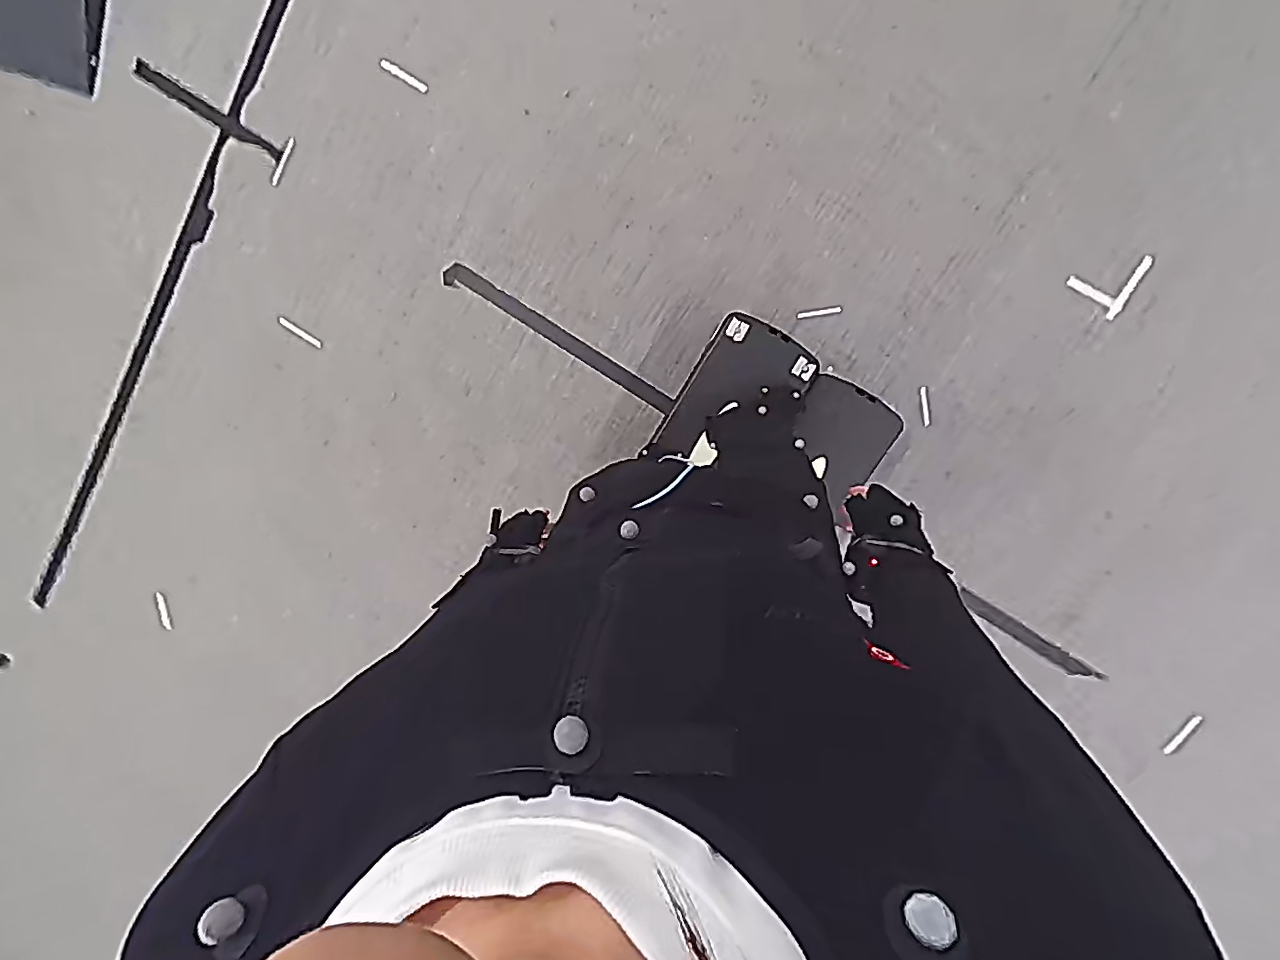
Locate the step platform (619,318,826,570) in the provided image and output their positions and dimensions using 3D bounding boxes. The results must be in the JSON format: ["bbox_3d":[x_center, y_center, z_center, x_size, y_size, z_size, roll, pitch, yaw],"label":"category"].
[{"bbox_3d":[0.216,-0.093,1.498,0.286,0.204,0.684,30,99,0],"label":"step platform"}]
